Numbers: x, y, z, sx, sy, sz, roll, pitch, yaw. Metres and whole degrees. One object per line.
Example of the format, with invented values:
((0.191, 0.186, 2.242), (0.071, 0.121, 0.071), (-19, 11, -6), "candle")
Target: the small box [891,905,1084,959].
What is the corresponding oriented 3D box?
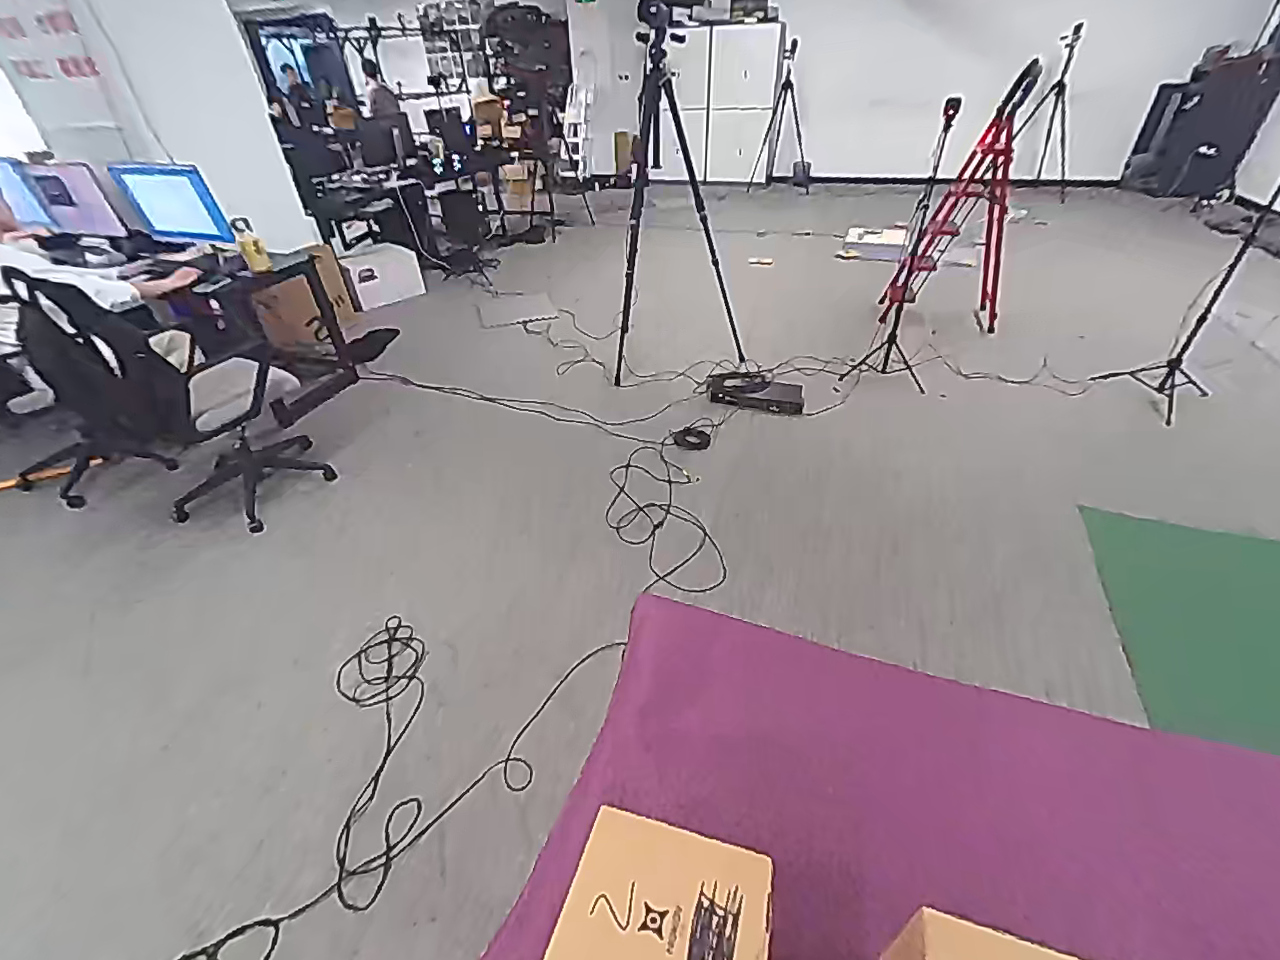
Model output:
((0.301, 0.501, 0.436), (0.168, 0.176, 0.179), (9, 37, 16), "small box")
